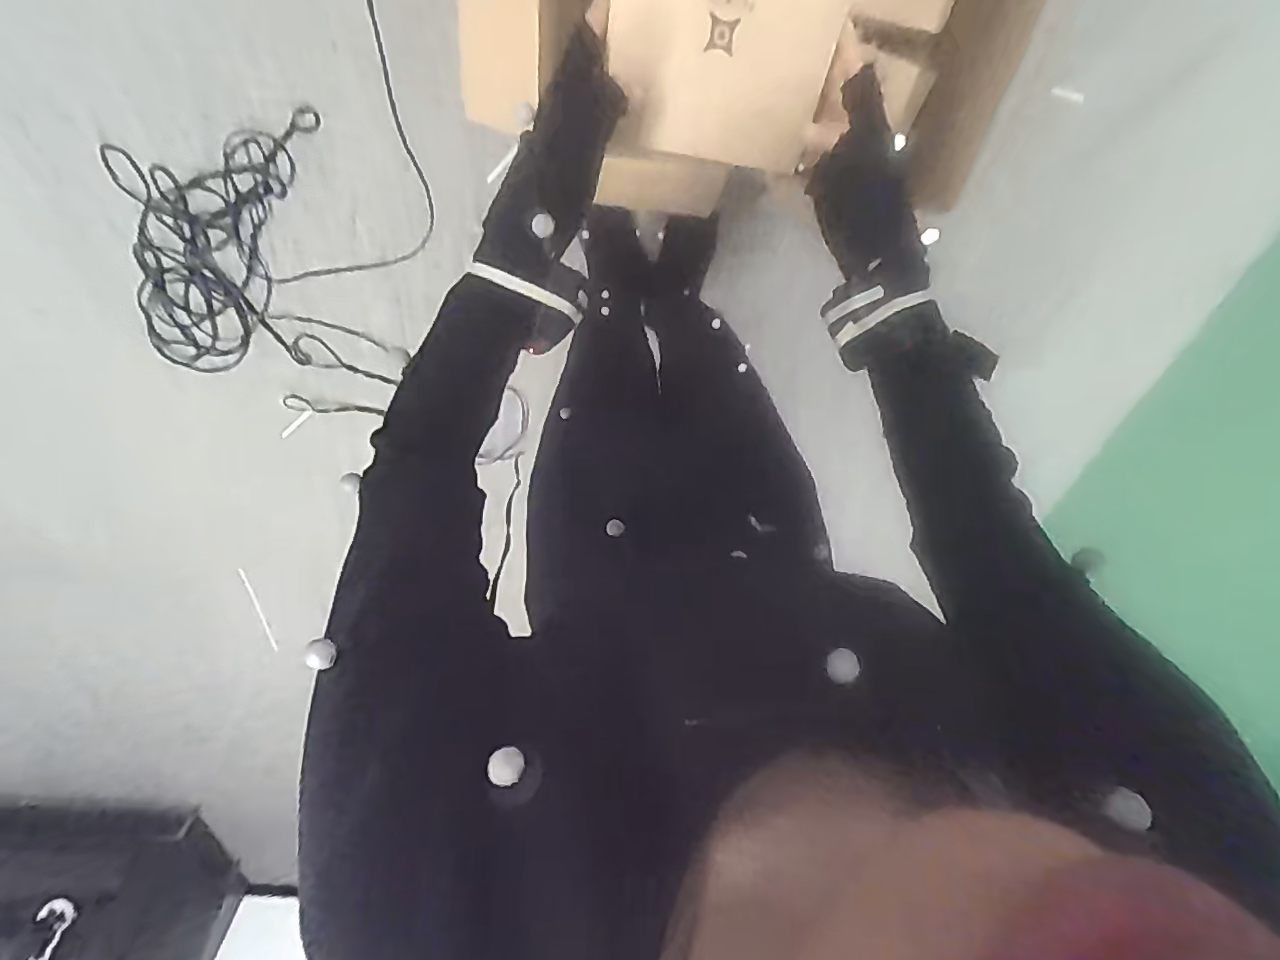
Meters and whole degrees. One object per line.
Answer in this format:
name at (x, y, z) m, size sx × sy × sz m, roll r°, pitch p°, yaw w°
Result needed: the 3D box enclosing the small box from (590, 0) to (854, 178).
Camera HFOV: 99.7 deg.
small box at (0.056, -0.369, 0.421) m, size 0.168 × 0.176 × 0.179 m, roll 7°, pitch 133°, yaw -9°
